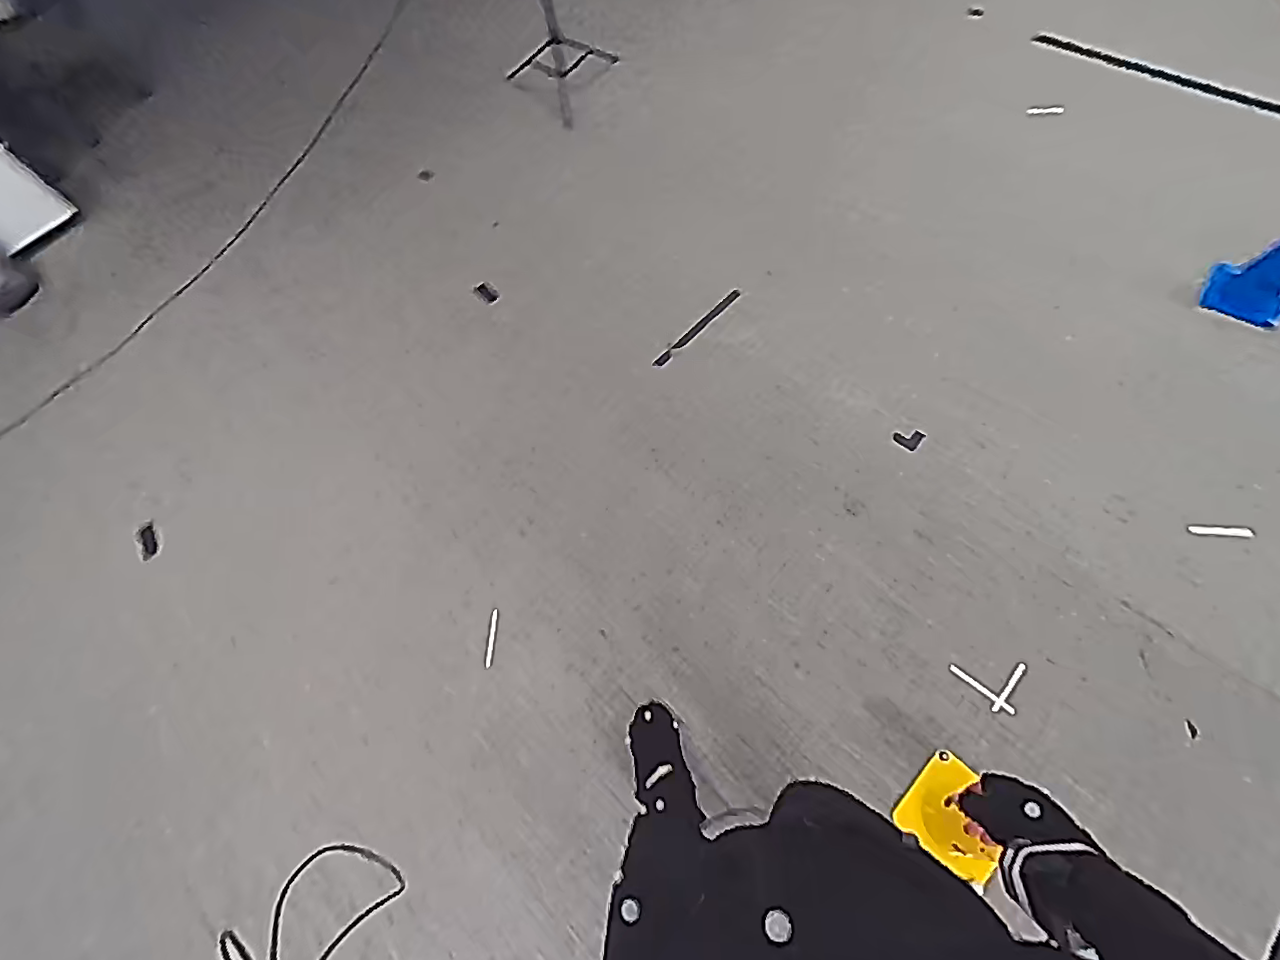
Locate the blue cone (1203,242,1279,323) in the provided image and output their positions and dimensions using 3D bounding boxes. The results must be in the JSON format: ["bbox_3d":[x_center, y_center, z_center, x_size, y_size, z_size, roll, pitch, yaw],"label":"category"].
[{"bbox_3d":[1.784,-0.633,1.463,0.192,0.380,0.193,33,72,19],"label":"blue cone"}]
